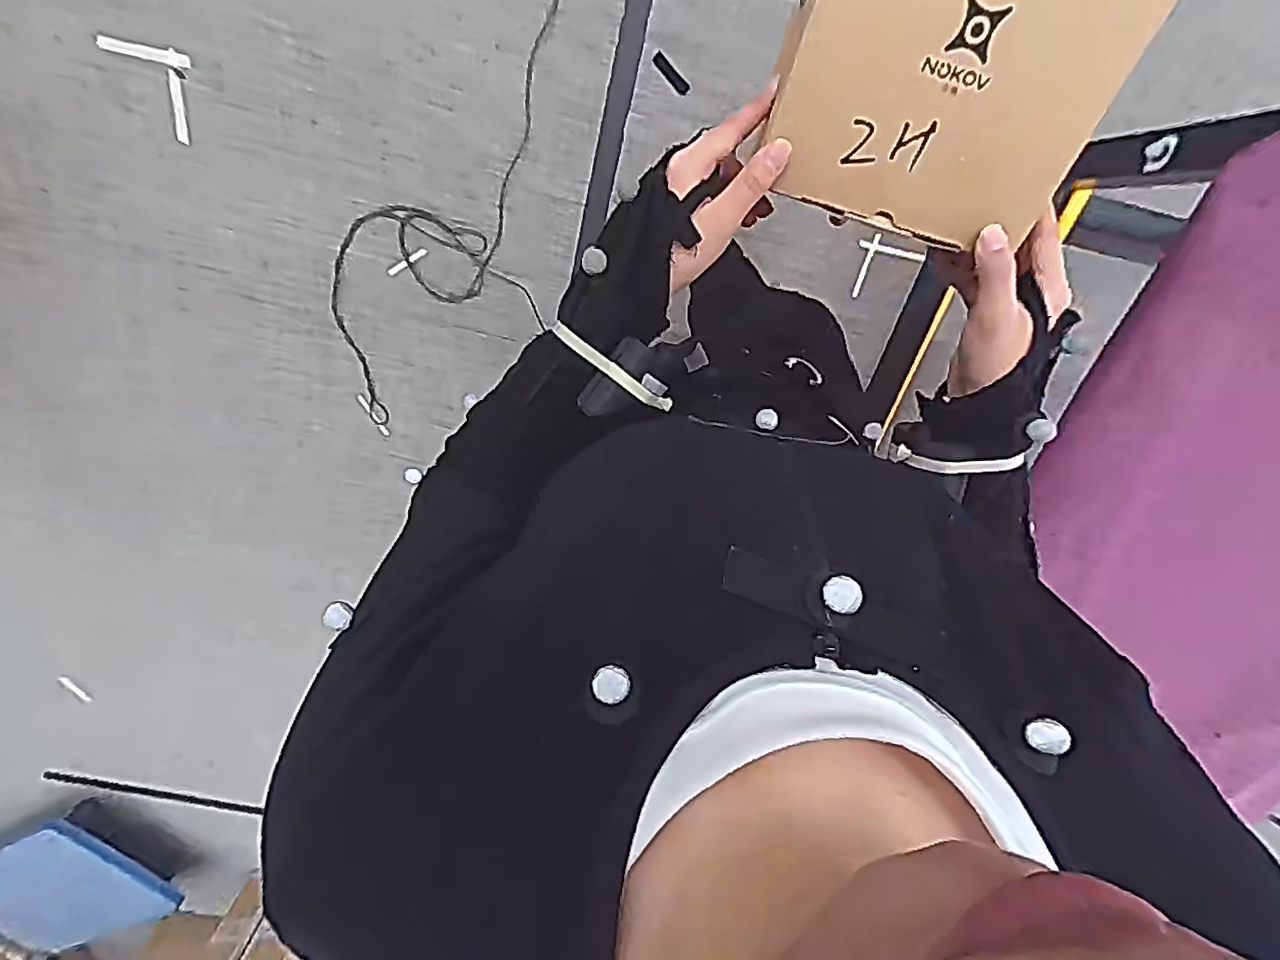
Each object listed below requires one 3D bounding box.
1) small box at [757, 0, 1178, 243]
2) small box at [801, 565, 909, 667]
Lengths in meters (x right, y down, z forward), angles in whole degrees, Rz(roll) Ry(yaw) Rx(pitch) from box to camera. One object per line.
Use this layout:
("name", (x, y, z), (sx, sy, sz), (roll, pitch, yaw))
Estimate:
("small box", (0.176, -0.272, 0.328), (0.168, 0.176, 0.179), (17, 124, -2))
("small box", (0.529, 0.337, 1.365), (0.179, 0.176, 0.168), (13, 115, -6))
